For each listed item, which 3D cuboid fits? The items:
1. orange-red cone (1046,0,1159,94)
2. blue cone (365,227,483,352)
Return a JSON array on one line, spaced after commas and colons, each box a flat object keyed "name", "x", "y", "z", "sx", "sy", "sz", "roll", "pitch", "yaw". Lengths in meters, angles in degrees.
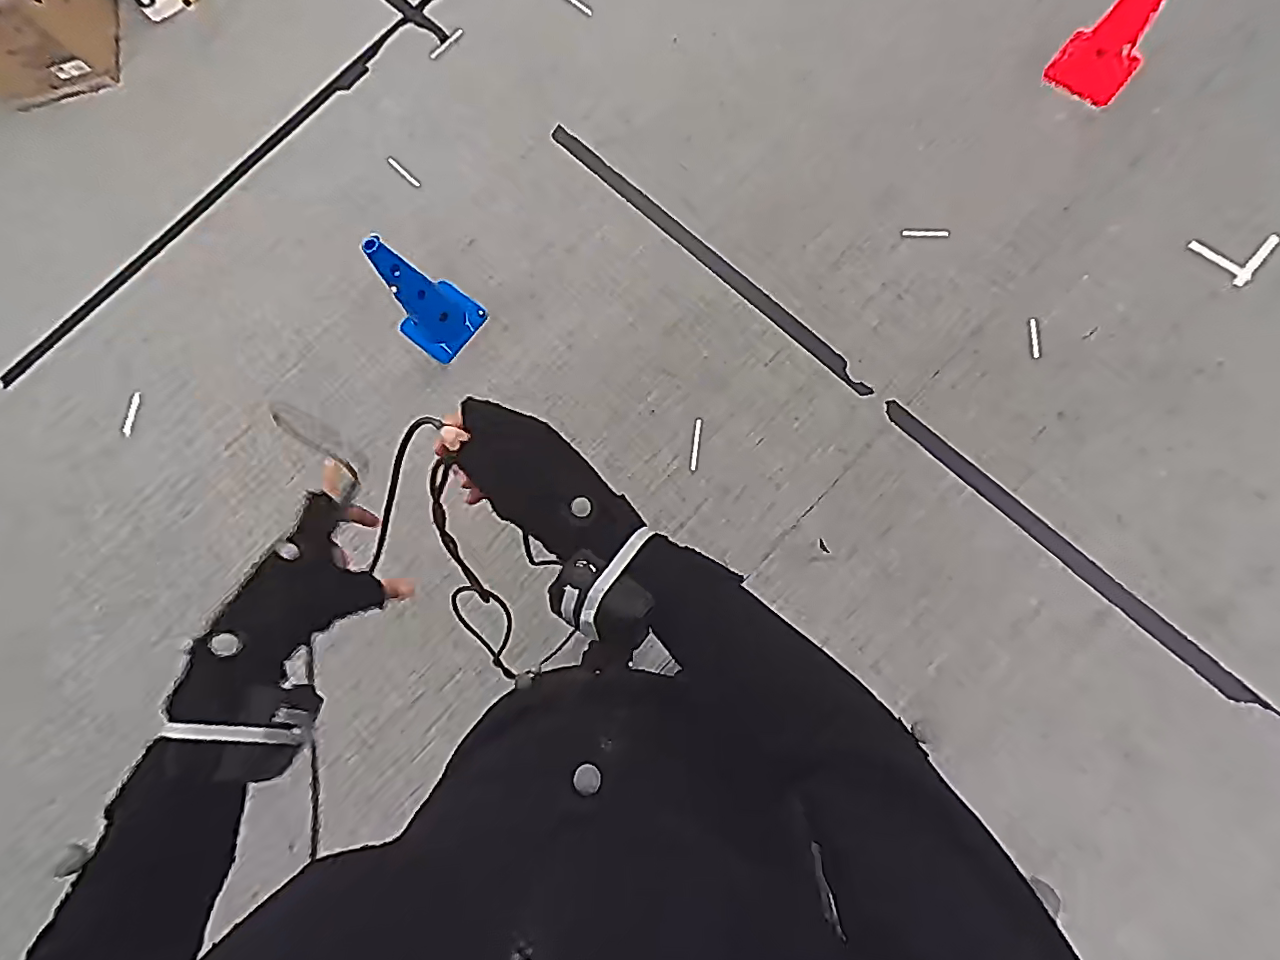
[{"name": "orange-red cone", "x": 1.241, "y": -1.209, "z": 1.334, "sx": 0.199, "sy": 0.360, "sz": 0.198, "roll": 39, "pitch": 84, "yaw": 14}, {"name": "blue cone", "x": -0.585, "y": -0.505, "z": 1.389, "sx": 0.193, "sy": 0.380, "sz": 0.192, "roll": 39, "pitch": 84, "yaw": 13}]
